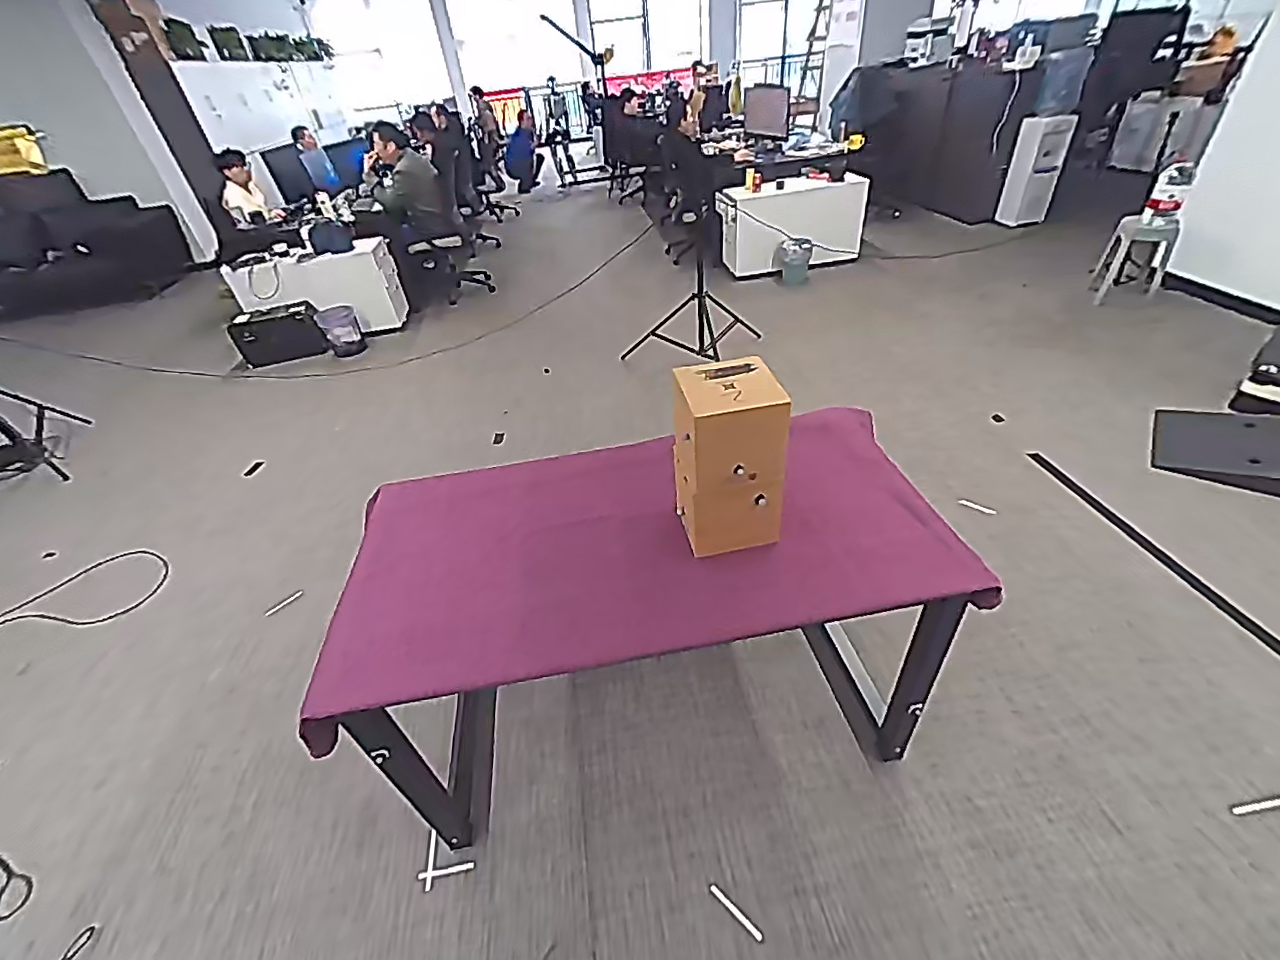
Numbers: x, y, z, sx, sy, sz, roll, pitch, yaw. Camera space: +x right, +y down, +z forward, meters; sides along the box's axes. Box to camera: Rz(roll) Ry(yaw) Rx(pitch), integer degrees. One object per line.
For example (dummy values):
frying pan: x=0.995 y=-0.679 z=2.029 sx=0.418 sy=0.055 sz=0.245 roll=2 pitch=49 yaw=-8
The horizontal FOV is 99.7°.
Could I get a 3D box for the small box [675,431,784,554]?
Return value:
small box: x=0.174 y=0.026 z=1.090 sx=0.179 sy=0.176 sz=0.168 roll=-11 pitch=38 yaw=-4
